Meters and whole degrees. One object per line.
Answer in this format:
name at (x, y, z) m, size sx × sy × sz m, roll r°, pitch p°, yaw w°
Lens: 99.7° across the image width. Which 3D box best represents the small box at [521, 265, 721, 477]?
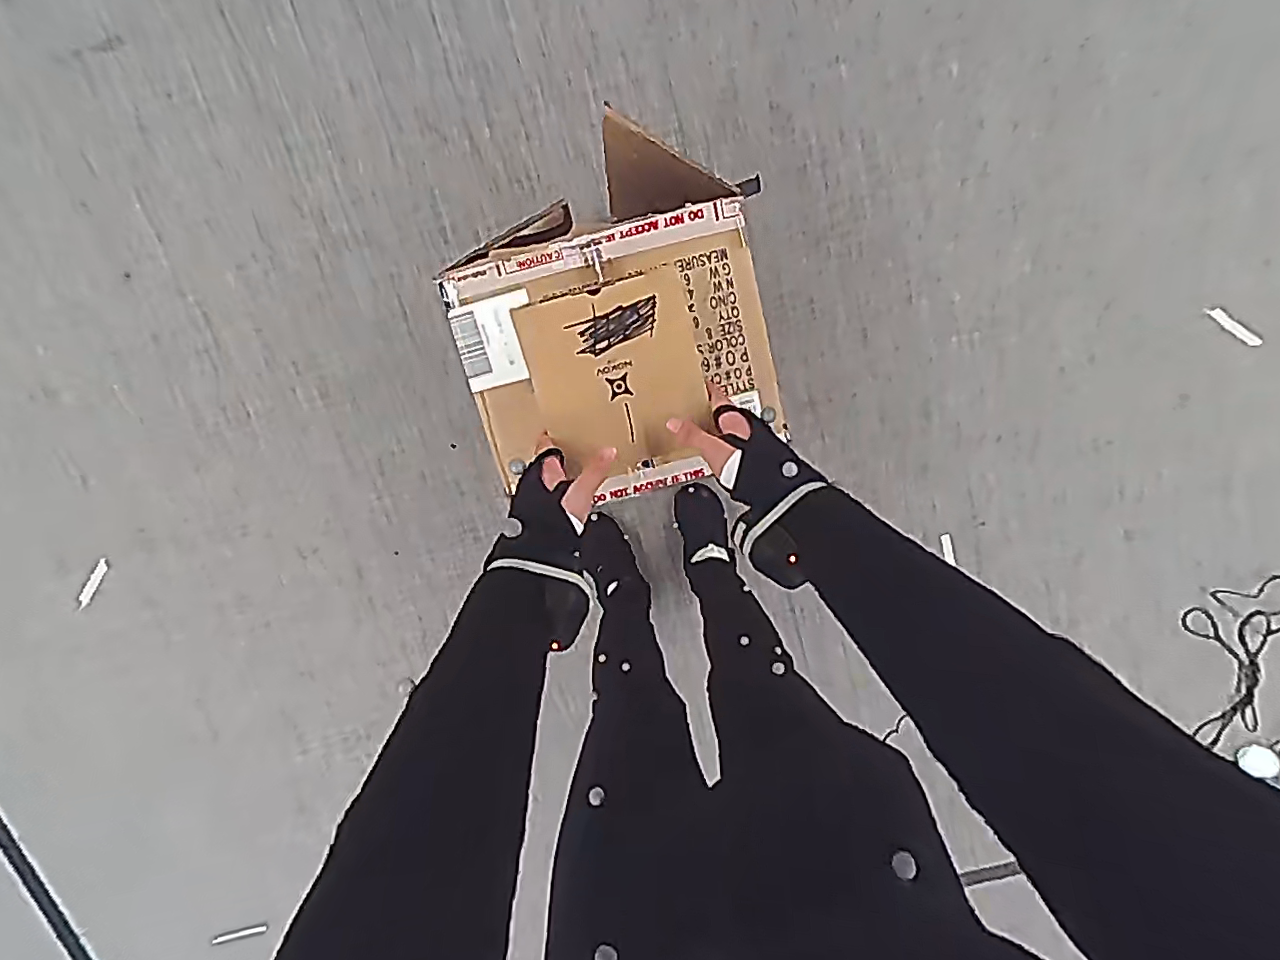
small box at (-0.020, -0.120, 0.608) m, size 0.168 × 0.176 × 0.179 m, roll -15°, pitch 104°, yaw 1°
